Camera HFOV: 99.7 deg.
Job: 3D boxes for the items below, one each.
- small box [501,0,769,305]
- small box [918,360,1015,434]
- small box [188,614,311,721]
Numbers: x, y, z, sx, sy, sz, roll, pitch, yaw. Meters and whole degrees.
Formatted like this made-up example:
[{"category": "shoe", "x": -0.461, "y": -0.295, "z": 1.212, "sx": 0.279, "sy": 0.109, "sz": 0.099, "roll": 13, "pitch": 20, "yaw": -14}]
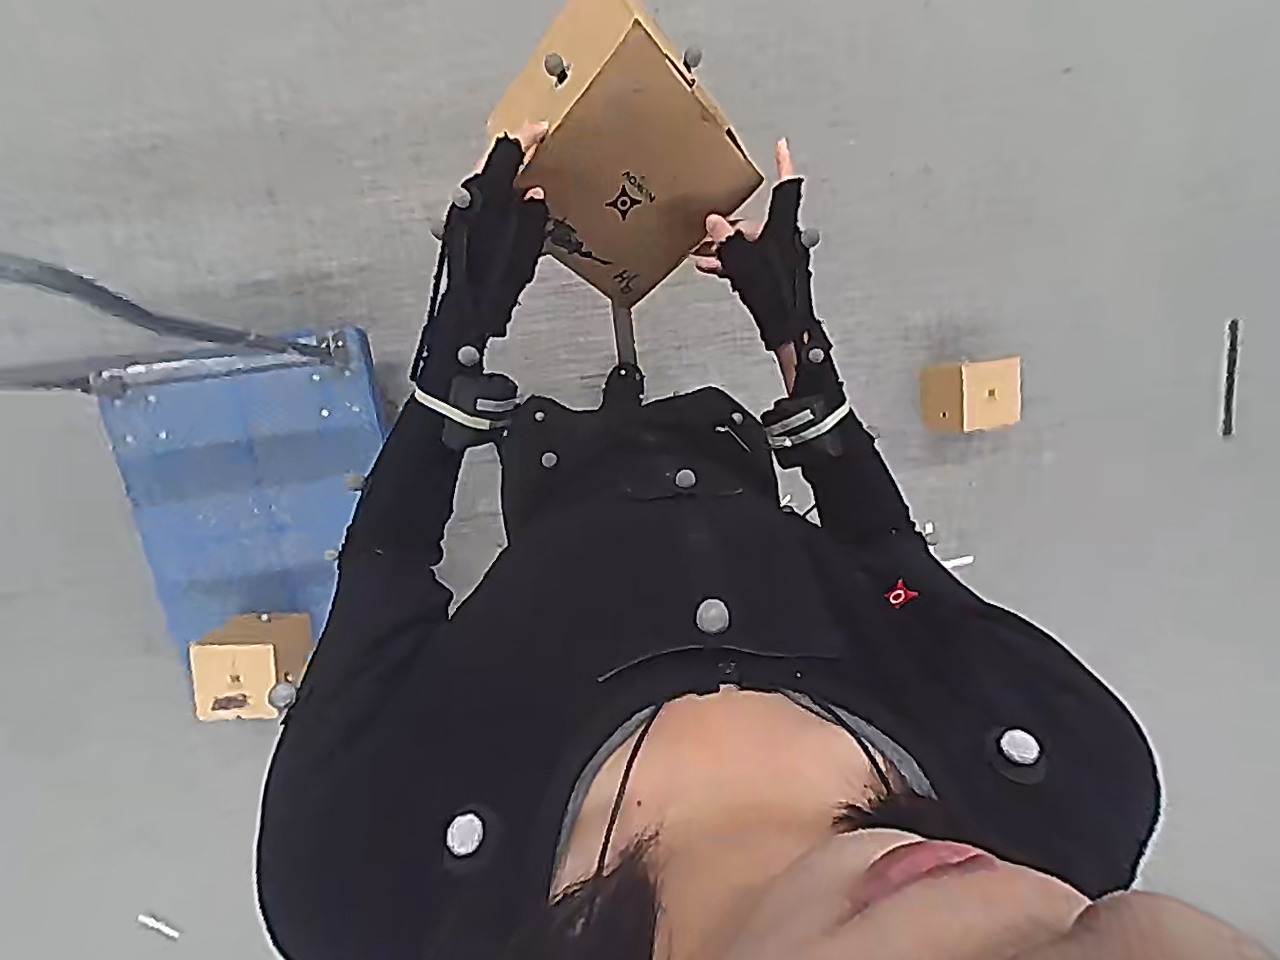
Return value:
[{"category": "small box", "x": -0.016, "y": -0.311, "z": 0.504, "sx": 0.179, "sy": 0.176, "sz": 0.168, "roll": -36, "pitch": 139, "yaw": 29}, {"category": "small box", "x": 0.901, "y": -0.234, "z": 1.502, "sx": 0.168, "sy": 0.176, "sz": 0.179, "roll": -10, "pitch": 101, "yaw": -5}, {"category": "small box", "x": -0.876, "y": 0.421, "z": 1.231, "sx": 0.168, "sy": 0.176, "sz": 0.179, "roll": 1, "pitch": 99, "yaw": -7}]
